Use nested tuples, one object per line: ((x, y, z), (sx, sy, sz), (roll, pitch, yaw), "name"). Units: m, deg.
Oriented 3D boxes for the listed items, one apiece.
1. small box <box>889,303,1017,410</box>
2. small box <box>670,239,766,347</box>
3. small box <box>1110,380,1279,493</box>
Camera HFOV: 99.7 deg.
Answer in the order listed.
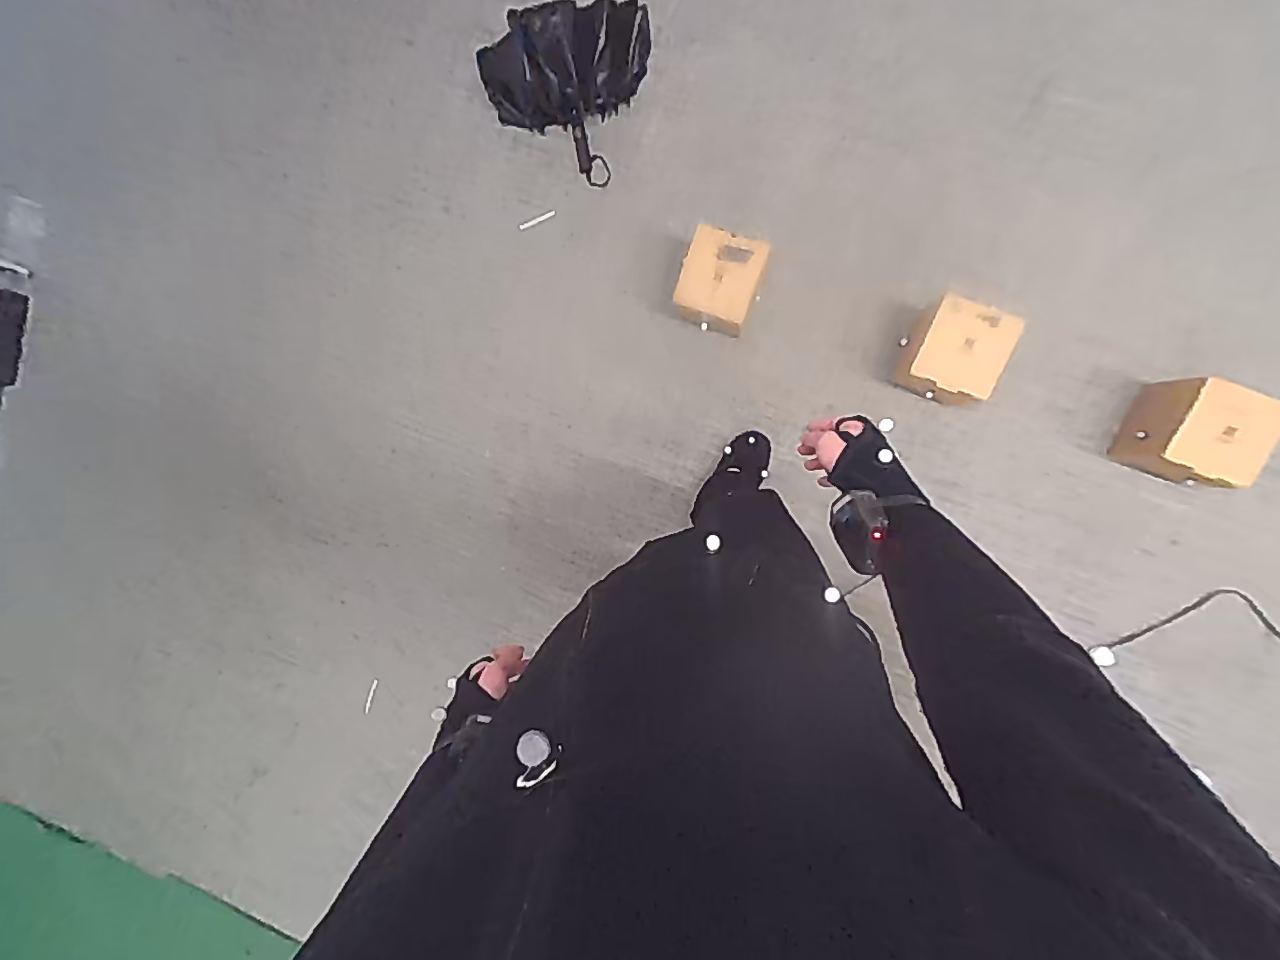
((0.672, -0.261, 1.190), (0.168, 0.176, 0.179), (23, 99, 8), "small box")
((0.182, -0.428, 1.264), (0.168, 0.176, 0.179), (20, 99, 8), "small box")
((1.137, -0.089, 1.119), (0.168, 0.176, 0.179), (22, 97, 7), "small box")
